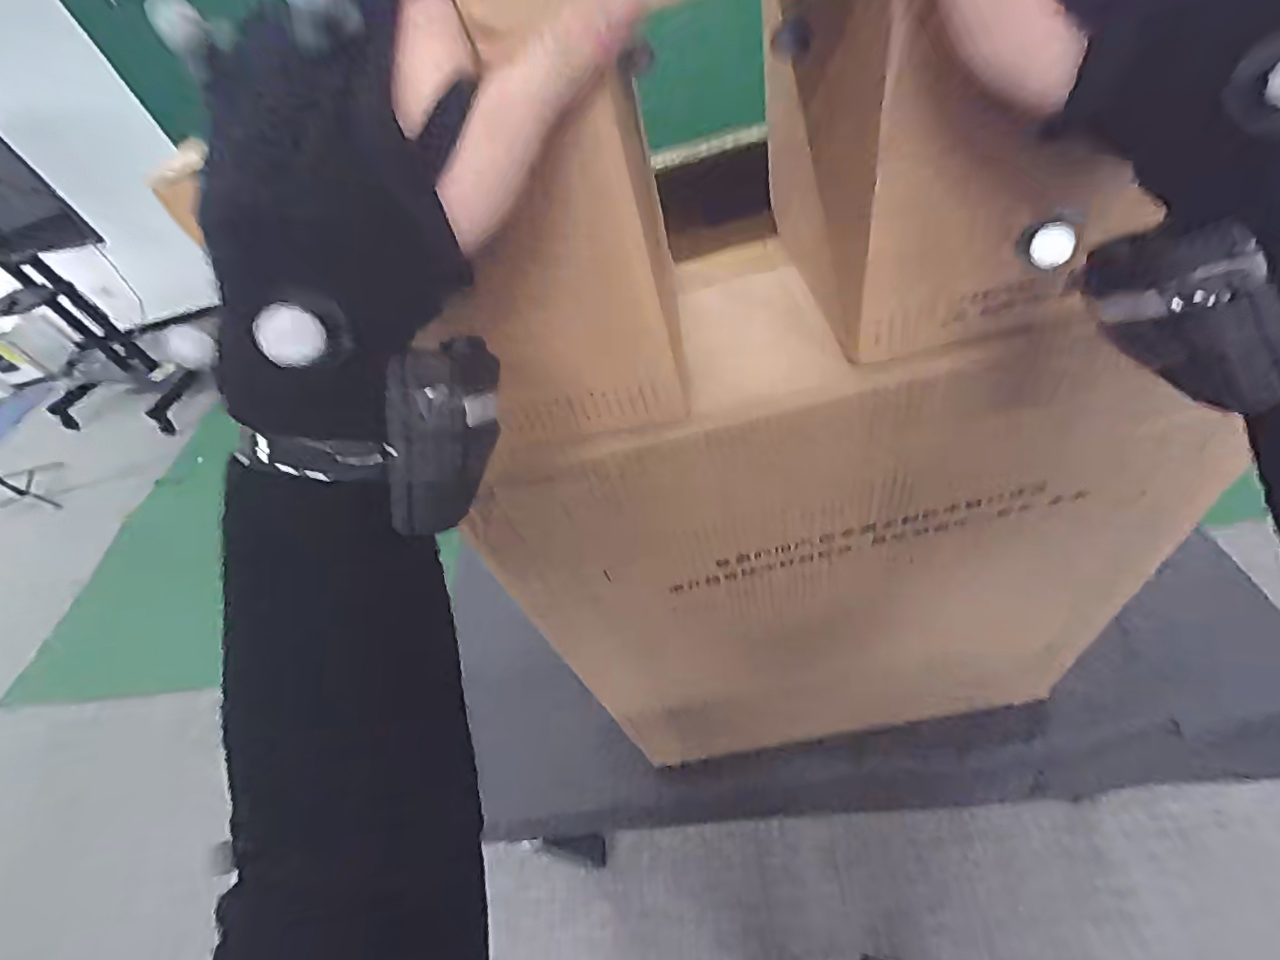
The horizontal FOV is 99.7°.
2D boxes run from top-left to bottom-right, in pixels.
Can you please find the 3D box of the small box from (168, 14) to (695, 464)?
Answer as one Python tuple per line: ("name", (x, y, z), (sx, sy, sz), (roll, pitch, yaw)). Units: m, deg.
("small box", (-0.074, -0.127, 0.295), (0.179, 0.176, 0.168), (-9, 50, 9))
